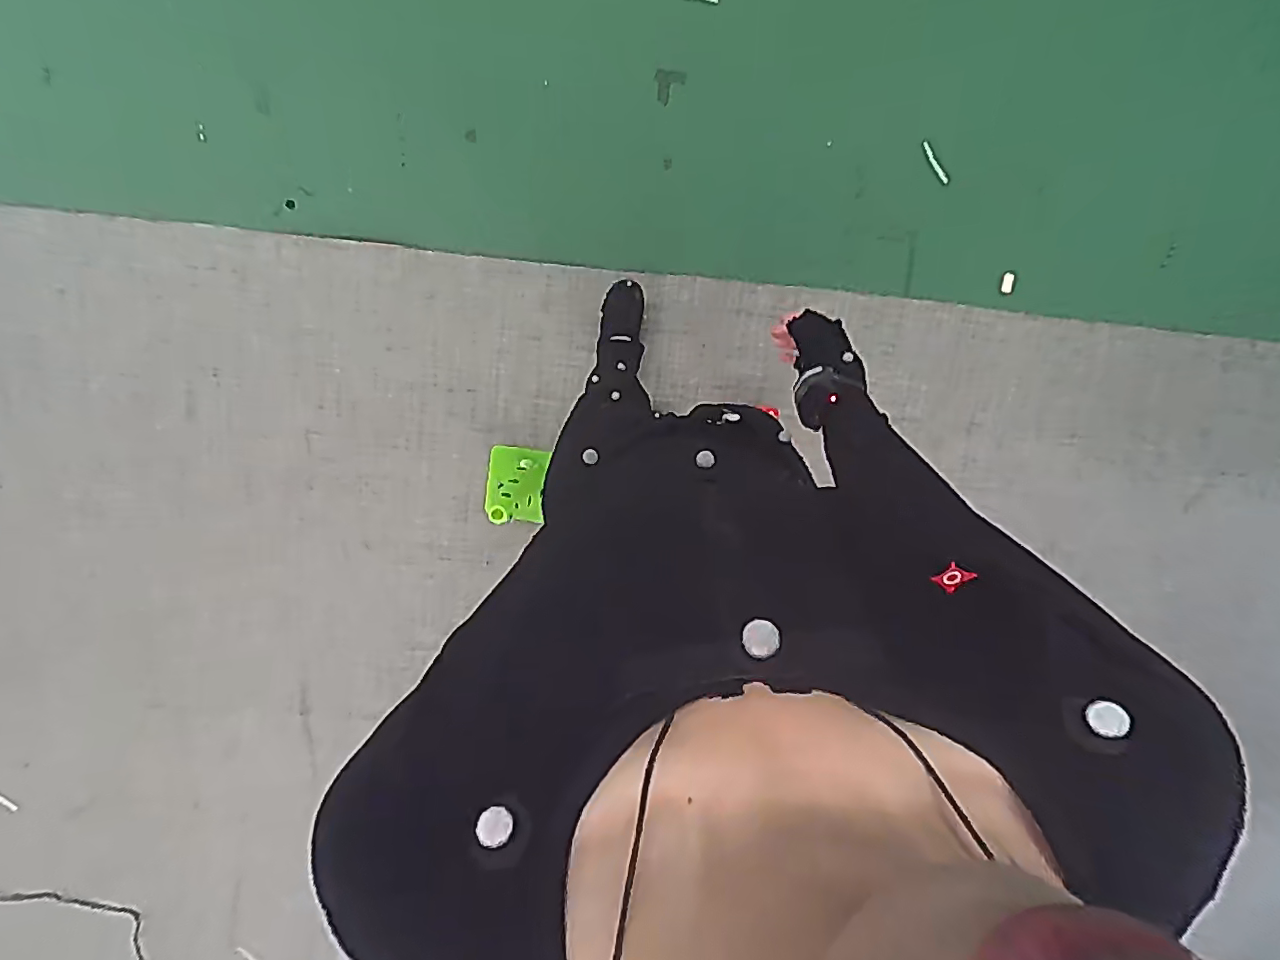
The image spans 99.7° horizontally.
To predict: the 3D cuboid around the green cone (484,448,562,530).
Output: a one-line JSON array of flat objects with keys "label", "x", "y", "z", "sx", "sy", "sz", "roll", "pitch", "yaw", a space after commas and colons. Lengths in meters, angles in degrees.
[{"label": "green cone", "x": -0.314, "y": 0.048, "z": 1.310, "sx": 0.200, "sy": 0.368, "sz": 0.202, "roll": 7, "pitch": 100, "yaw": -4}]
